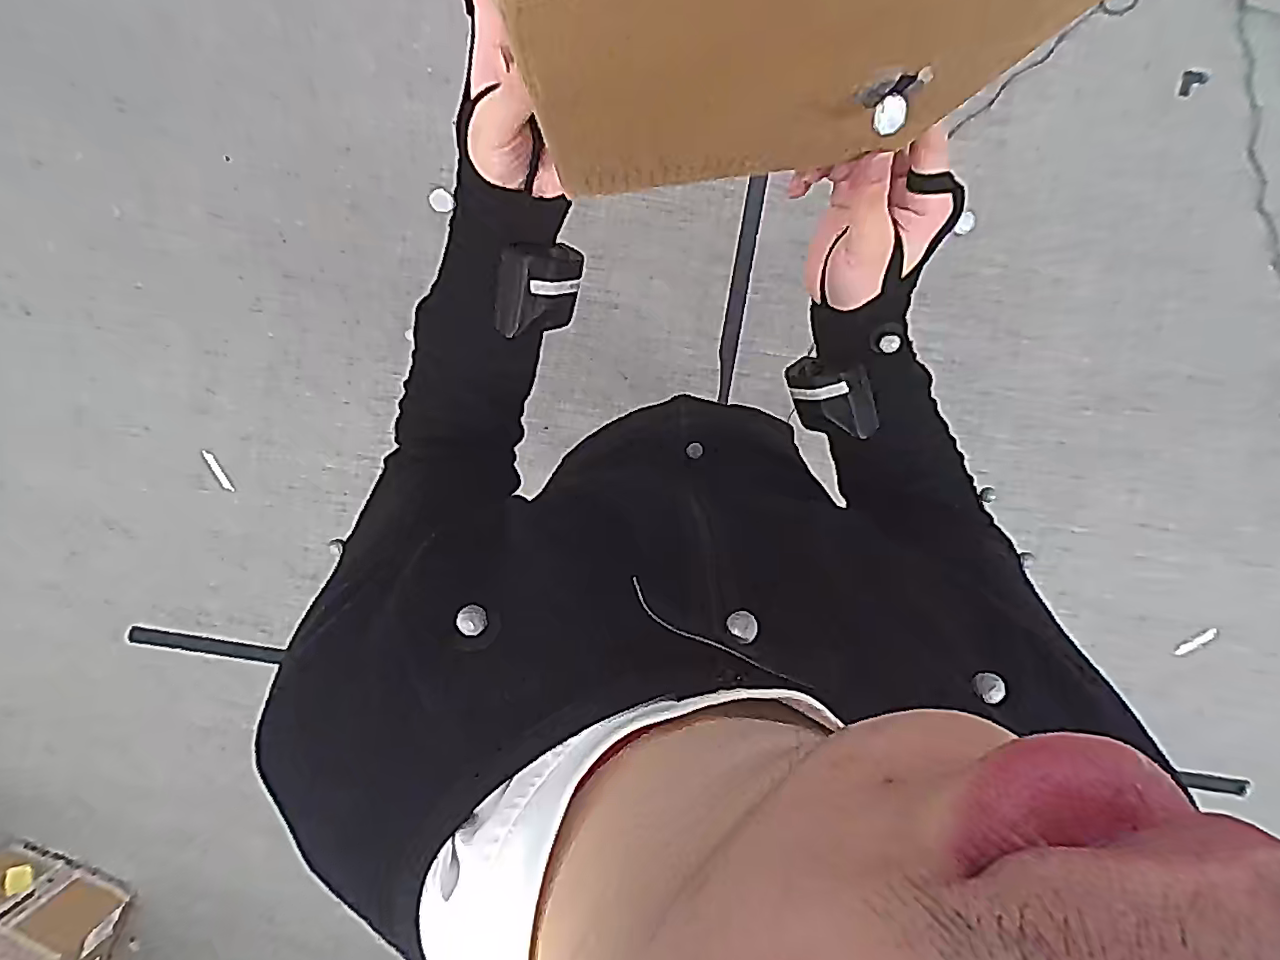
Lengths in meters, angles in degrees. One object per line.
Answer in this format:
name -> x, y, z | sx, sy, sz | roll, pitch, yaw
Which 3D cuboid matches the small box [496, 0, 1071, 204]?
small box -> 0.035, -0.224, 0.202 | 0.179, 0.176, 0.168 | -9, 101, 1
